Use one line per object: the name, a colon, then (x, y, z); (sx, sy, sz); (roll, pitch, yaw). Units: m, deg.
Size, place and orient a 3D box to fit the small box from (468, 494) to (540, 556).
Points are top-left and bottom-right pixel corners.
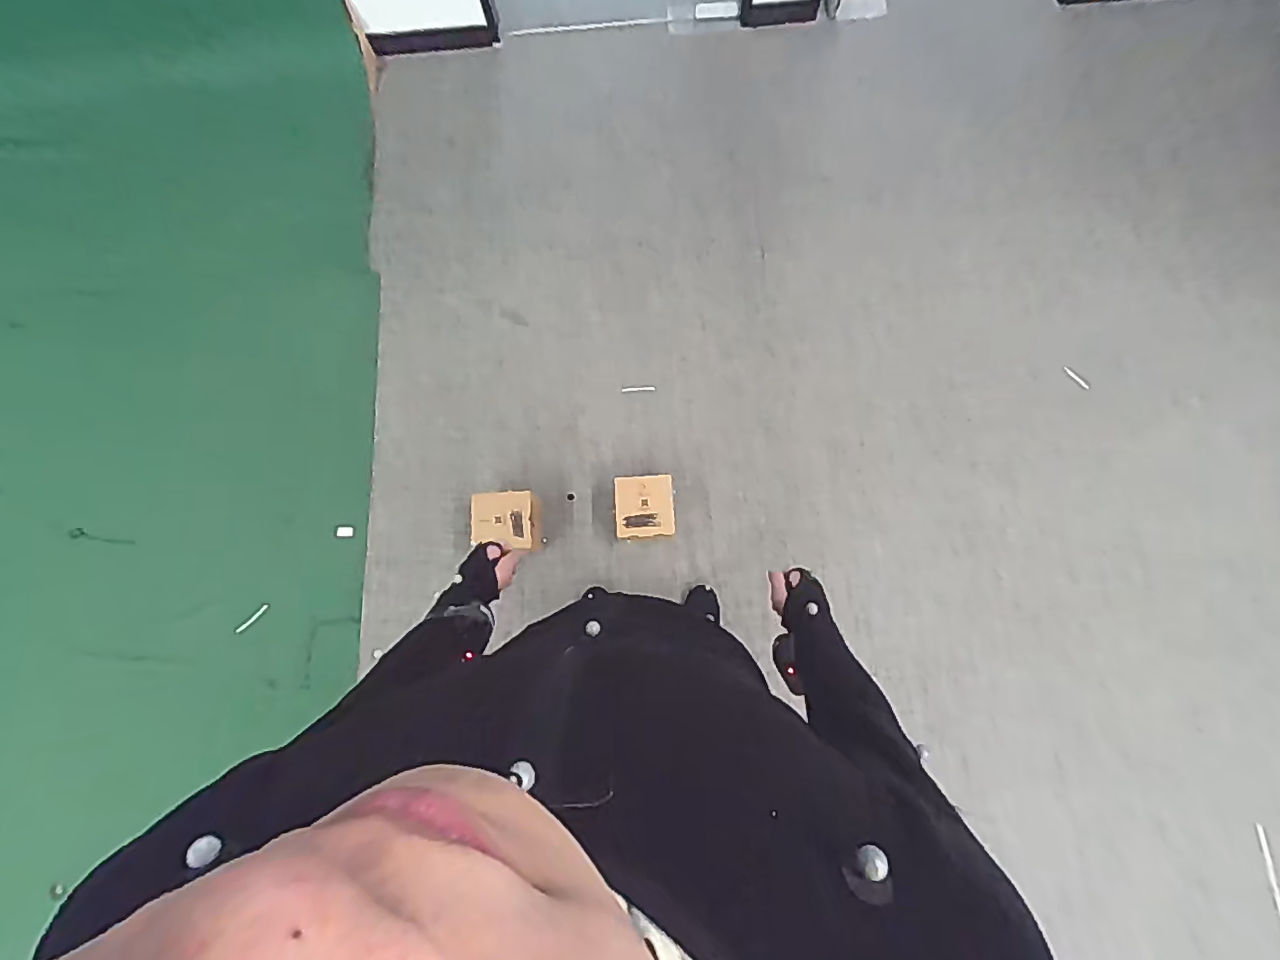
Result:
small box: (-0.394, 0.136, 1.595); (0.179, 0.176, 0.168); (-3, 78, 2)
